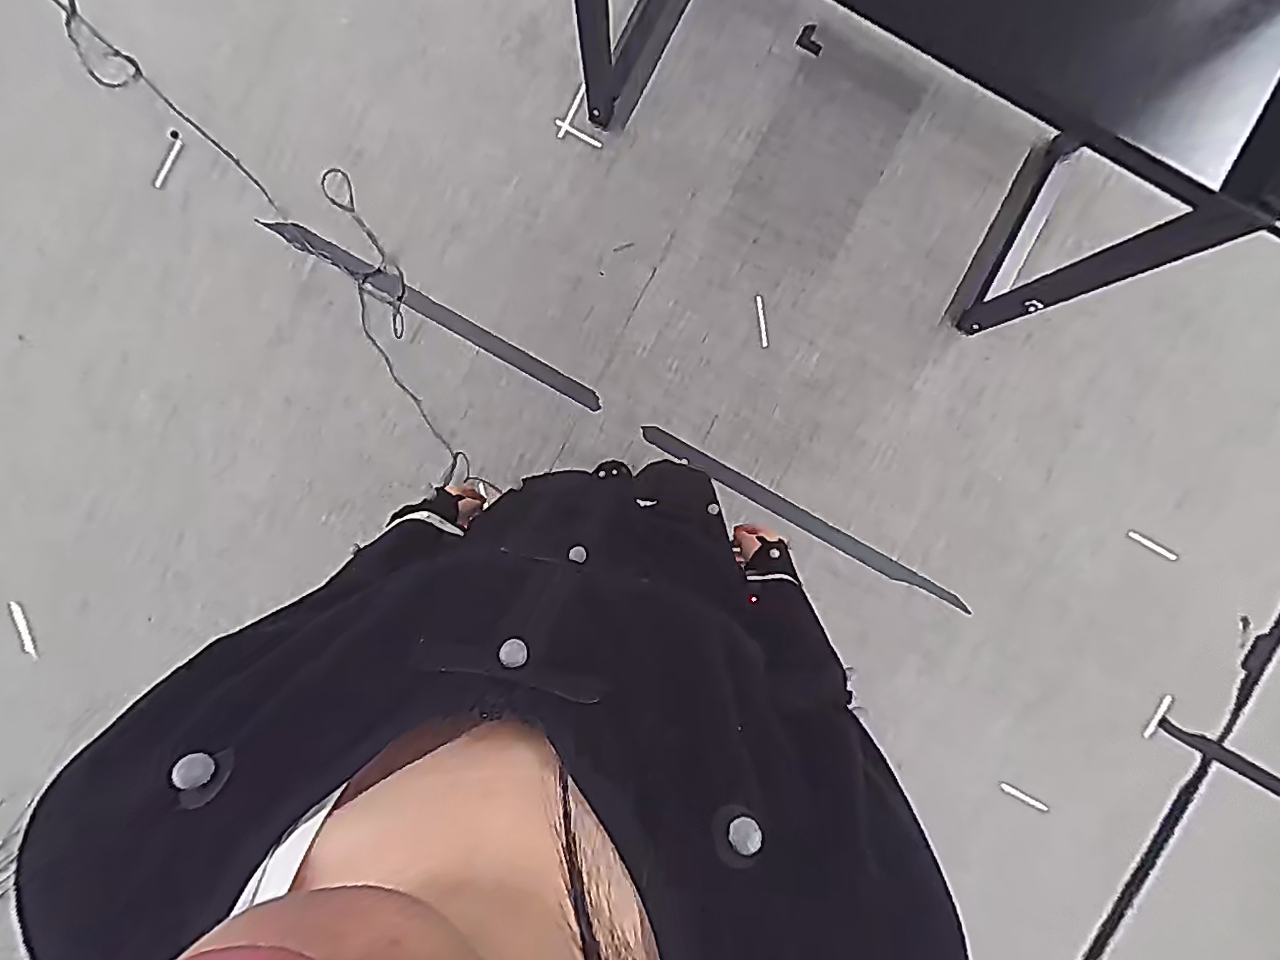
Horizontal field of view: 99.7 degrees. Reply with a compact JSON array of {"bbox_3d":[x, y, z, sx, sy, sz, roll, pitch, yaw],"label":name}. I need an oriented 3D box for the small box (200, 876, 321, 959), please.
[{"bbox_3d":[-1.002,1.178,1.440,0.179,0.176,0.168,23,93,-3],"label":"small box"}]

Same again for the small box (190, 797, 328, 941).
[{"bbox_3d":[-0.877,0.899,1.265,0.168,0.176,0.179,31,90,-3],"label":"small box"}]
